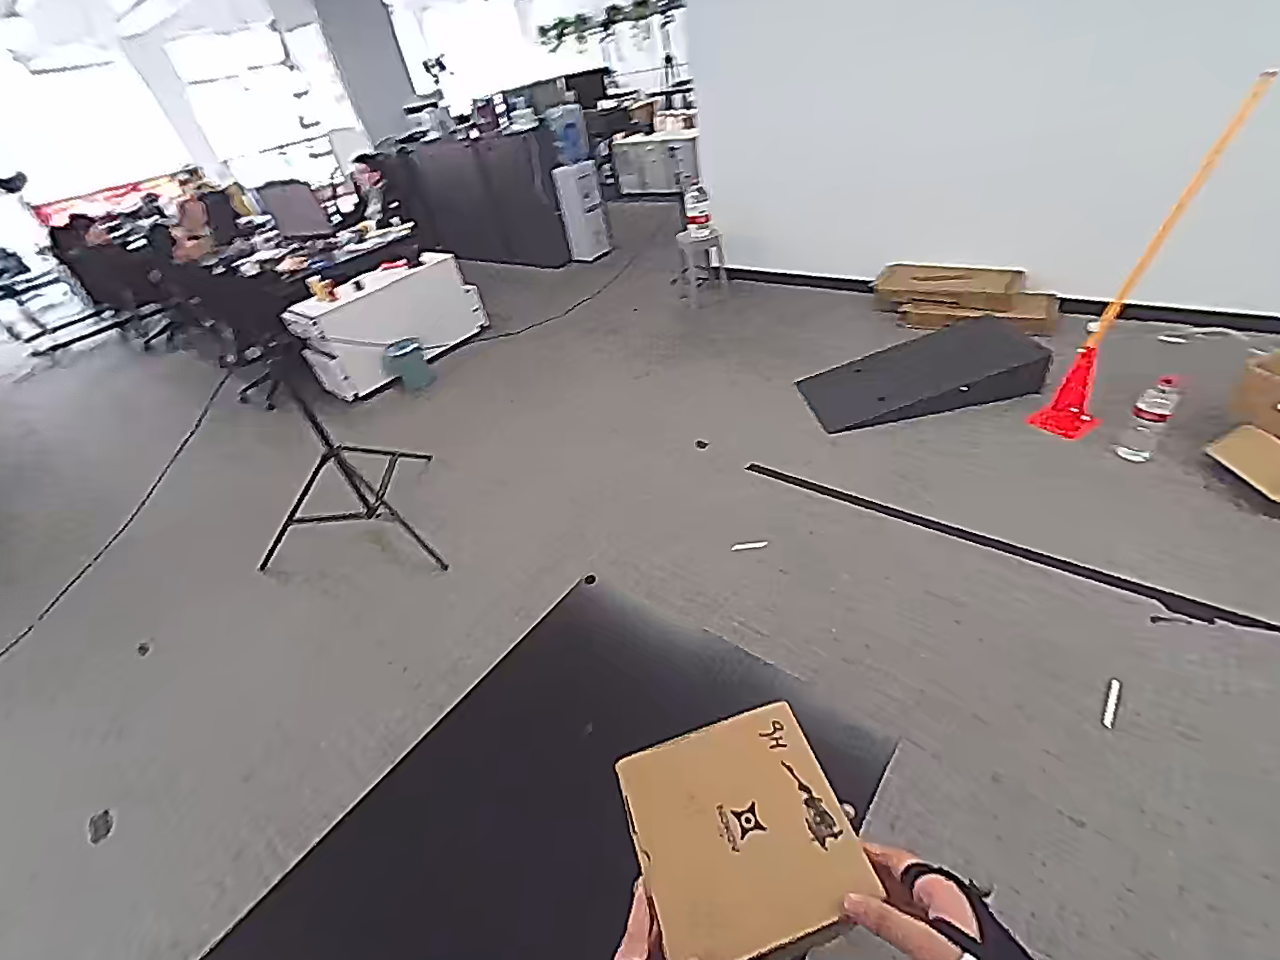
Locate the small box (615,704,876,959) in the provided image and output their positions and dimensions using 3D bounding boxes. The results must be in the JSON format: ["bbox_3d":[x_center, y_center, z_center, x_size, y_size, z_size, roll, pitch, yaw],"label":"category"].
[{"bbox_3d":[0.090,0.351,0.514,0.179,0.176,0.168,-16,44,-7],"label":"small box"}]
